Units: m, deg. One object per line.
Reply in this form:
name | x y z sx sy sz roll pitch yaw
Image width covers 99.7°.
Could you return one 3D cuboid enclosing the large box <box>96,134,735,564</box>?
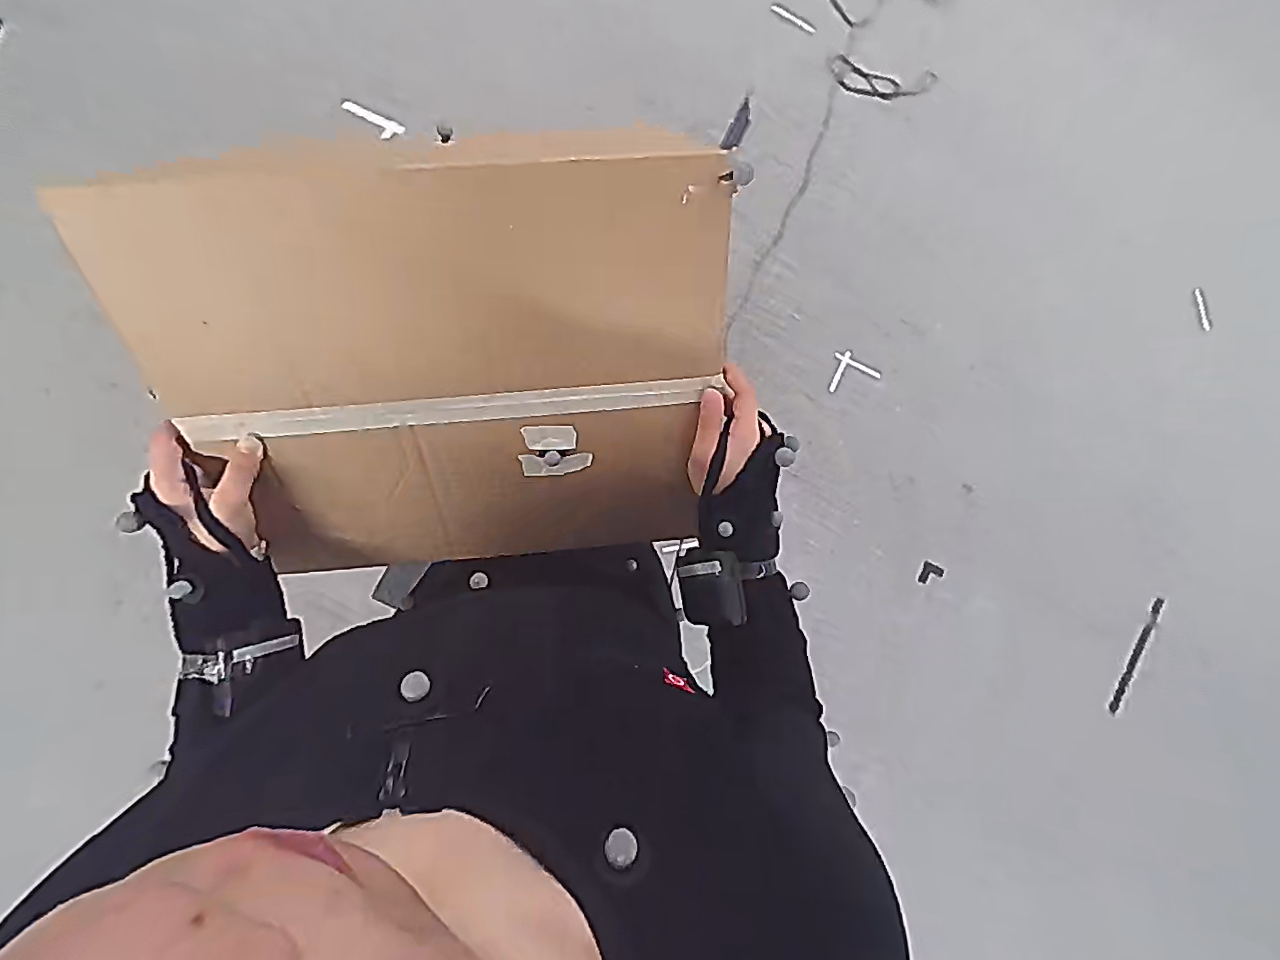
large box | -0.146 -0.149 0.543 0.408 0.320 0.320 -5 127 -4
